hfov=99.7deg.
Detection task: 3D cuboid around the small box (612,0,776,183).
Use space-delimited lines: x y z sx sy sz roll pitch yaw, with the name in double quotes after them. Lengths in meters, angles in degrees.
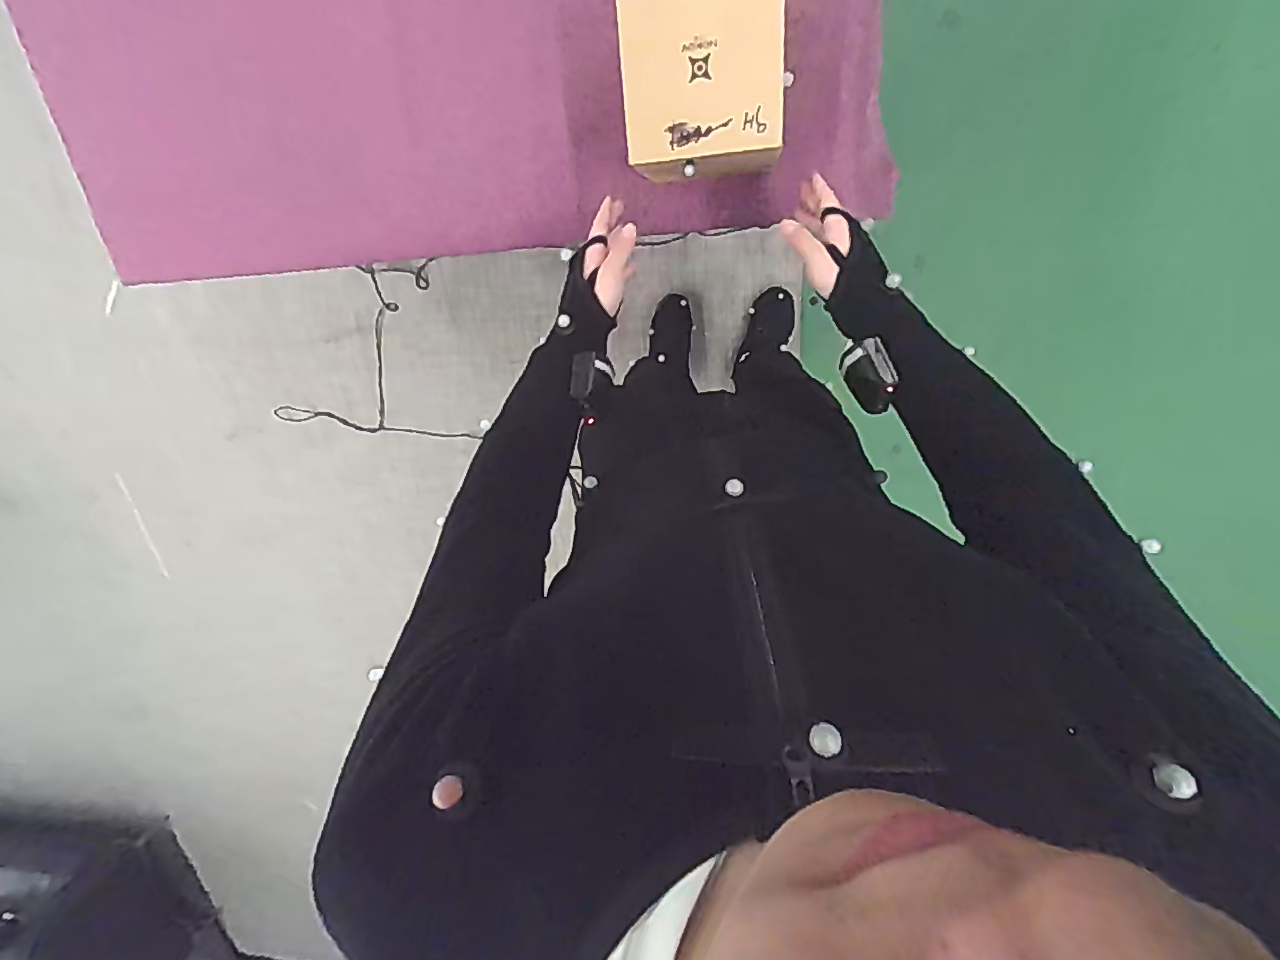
0.069 -0.460 0.627 0.168 0.176 0.179 1 113 13 "small box"
